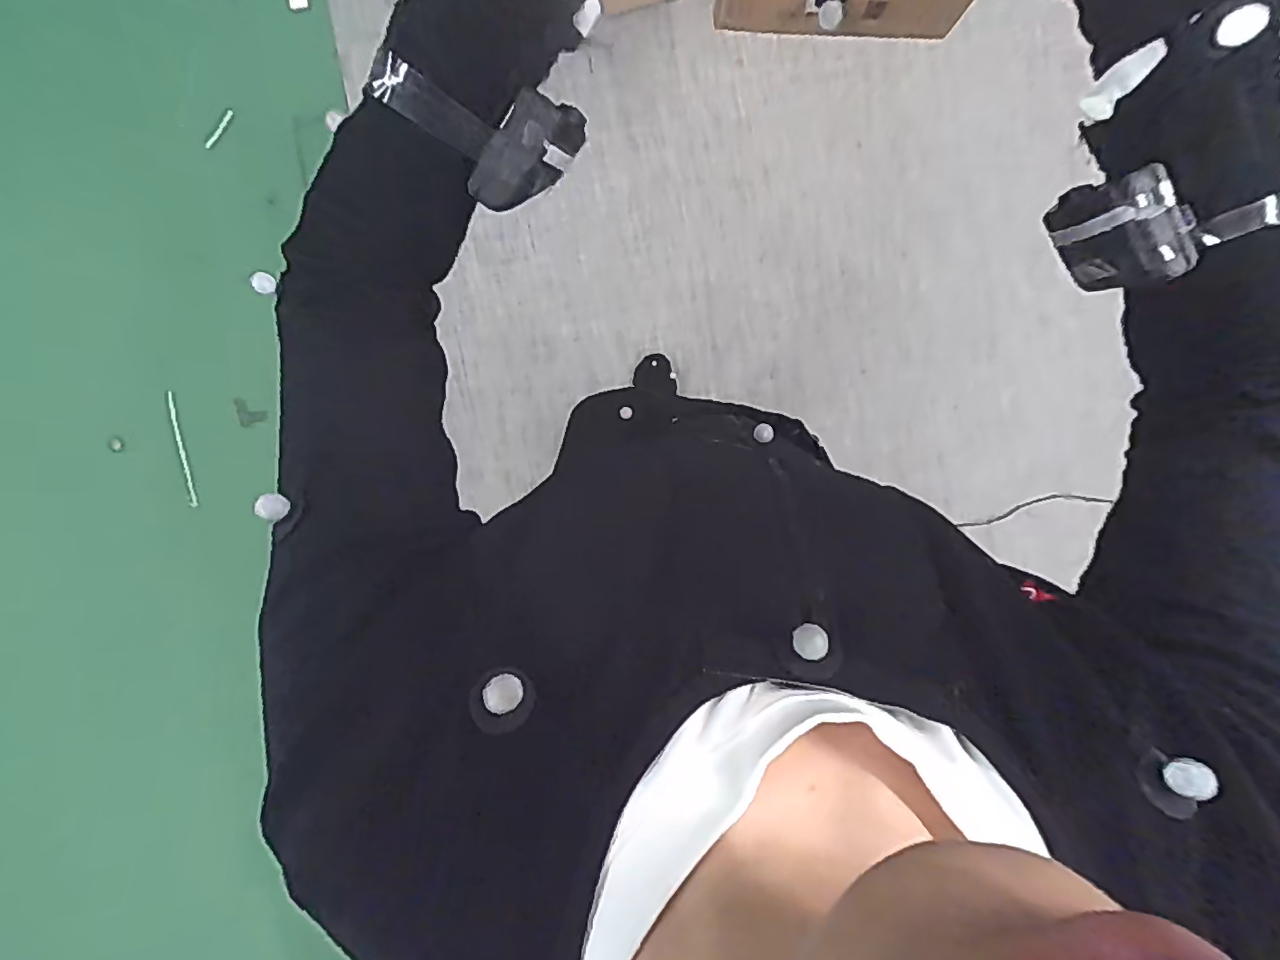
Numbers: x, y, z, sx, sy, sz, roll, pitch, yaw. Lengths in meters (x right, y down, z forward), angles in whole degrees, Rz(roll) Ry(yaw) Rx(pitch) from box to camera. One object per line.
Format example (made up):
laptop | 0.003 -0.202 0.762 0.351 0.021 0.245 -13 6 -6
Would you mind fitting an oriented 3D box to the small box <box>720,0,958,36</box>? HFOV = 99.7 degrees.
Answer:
small box | 0.133 -0.393 0.288 0.168 0.176 0.179 2 94 0
